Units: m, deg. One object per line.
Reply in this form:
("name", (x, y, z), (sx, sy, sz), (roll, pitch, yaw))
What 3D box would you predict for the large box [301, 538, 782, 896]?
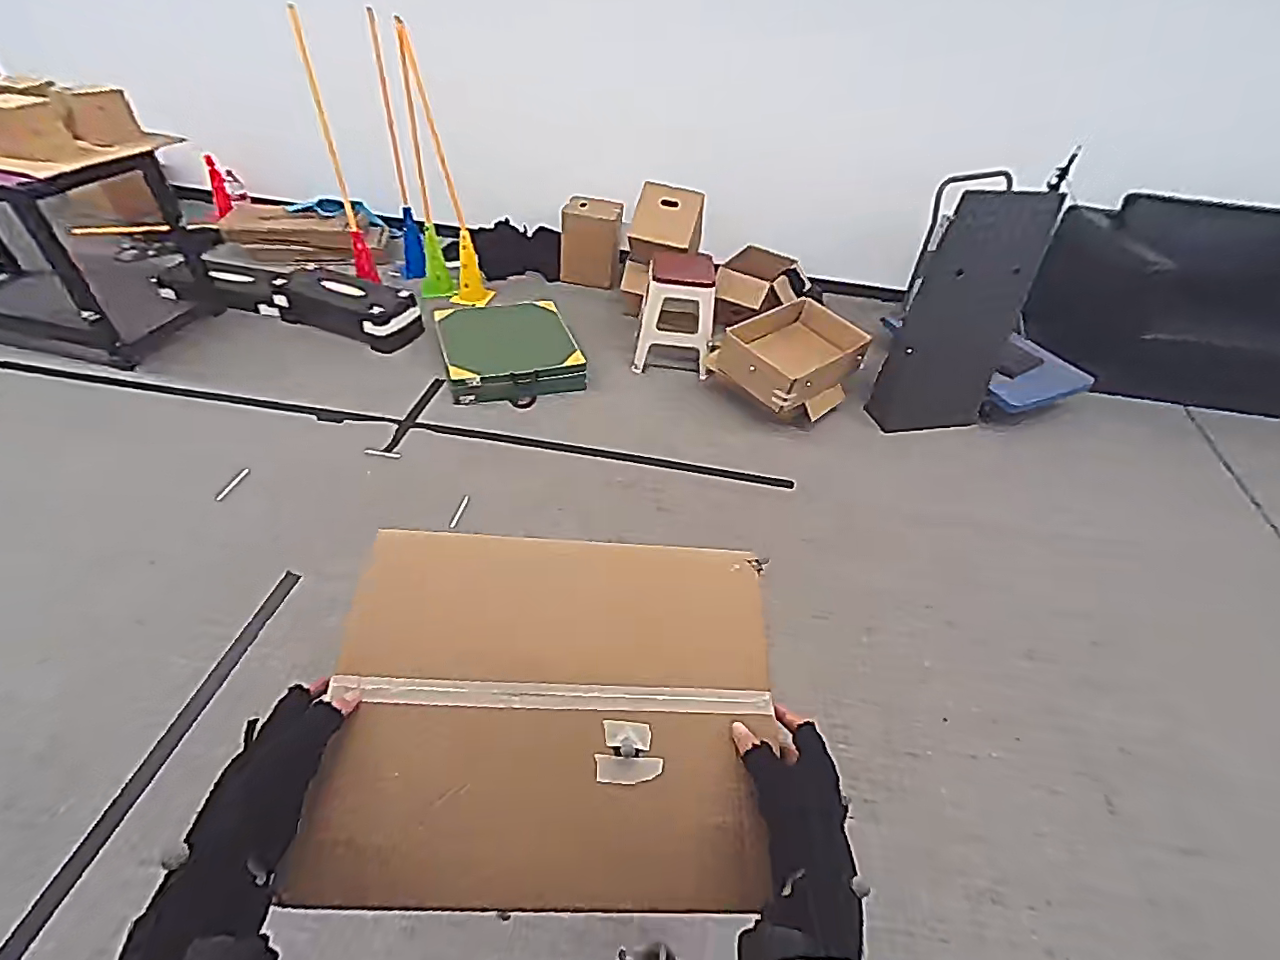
("large box", (-0.090, 0.281, 0.646), (0.408, 0.320, 0.320), (4, 60, -5))
